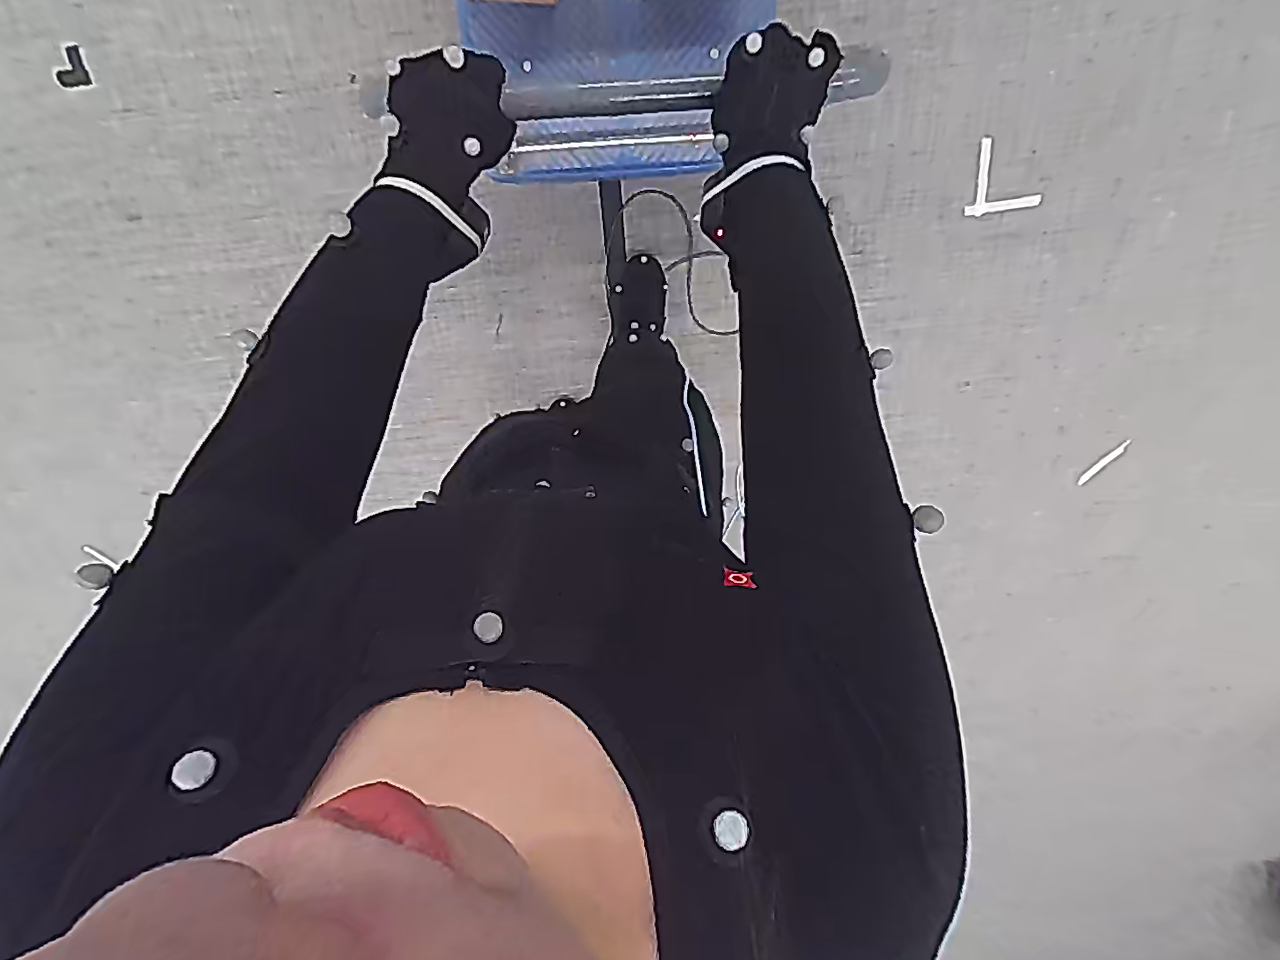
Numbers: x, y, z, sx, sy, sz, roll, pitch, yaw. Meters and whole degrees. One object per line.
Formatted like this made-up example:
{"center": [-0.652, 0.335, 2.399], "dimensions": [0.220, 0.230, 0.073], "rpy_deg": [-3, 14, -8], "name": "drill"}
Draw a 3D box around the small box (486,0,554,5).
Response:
{"center": [-0.227, -0.906, 0.872], "dimensions": [0.179, 0.176, 0.168], "rpy_deg": [2, 113, -3], "name": "small box"}
